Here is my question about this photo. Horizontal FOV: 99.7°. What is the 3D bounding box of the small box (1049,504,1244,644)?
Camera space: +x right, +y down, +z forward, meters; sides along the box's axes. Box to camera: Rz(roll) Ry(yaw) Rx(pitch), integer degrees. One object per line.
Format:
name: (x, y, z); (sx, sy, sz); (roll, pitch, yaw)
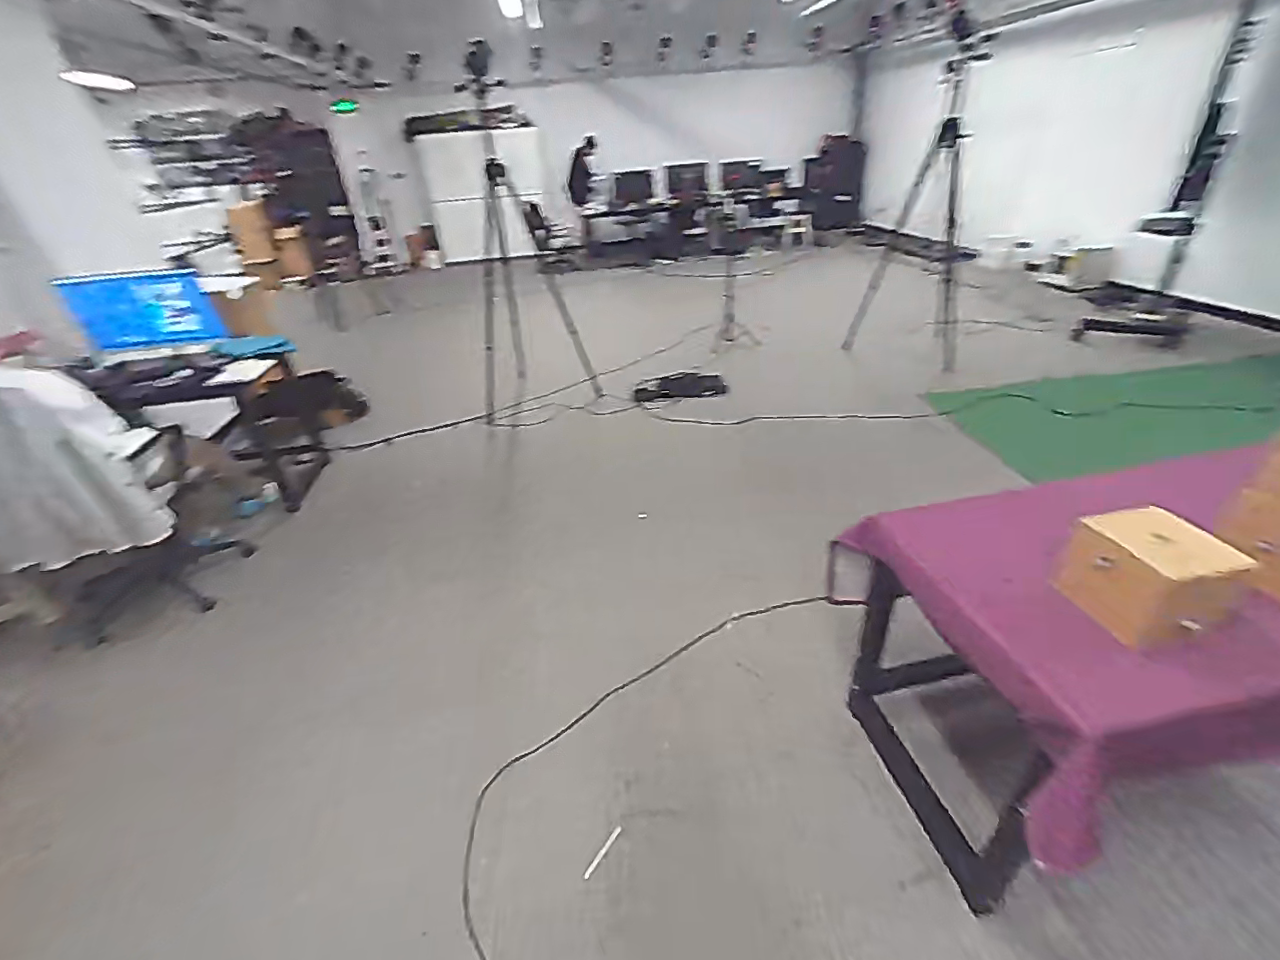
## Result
small box: (0.906, 0.169, 0.992); (0.168, 0.176, 0.179); (-9, 31, -6)
